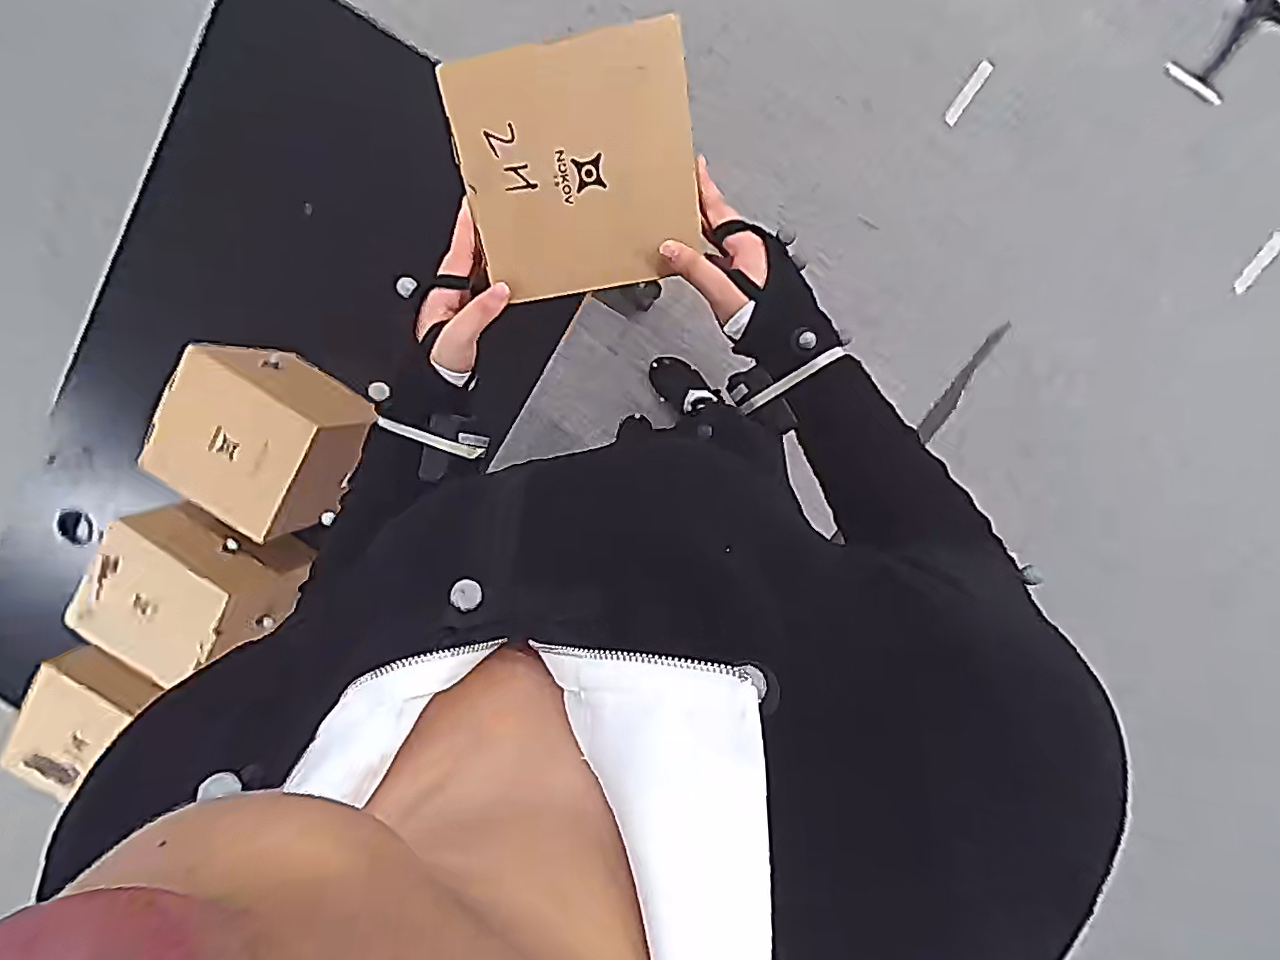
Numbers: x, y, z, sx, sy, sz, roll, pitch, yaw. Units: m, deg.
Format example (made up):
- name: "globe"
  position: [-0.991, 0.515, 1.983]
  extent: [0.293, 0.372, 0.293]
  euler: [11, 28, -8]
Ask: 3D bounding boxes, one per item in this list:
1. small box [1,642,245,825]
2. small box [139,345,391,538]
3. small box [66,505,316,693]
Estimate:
- name: "small box"
  position: [-0.726, 0.333, 0.780]
  extent: [0.168, 0.176, 0.179]
  euler: [33, 99, -1]
- name: "small box"
  position: [-0.470, -0.054, 0.703]
  extent: [0.179, 0.176, 0.168]
  euler: [32, 101, -1]
- name: "small box"
  position: [-0.595, 0.145, 0.742]
  extent: [0.179, 0.176, 0.168]
  euler: [33, 99, -1]
